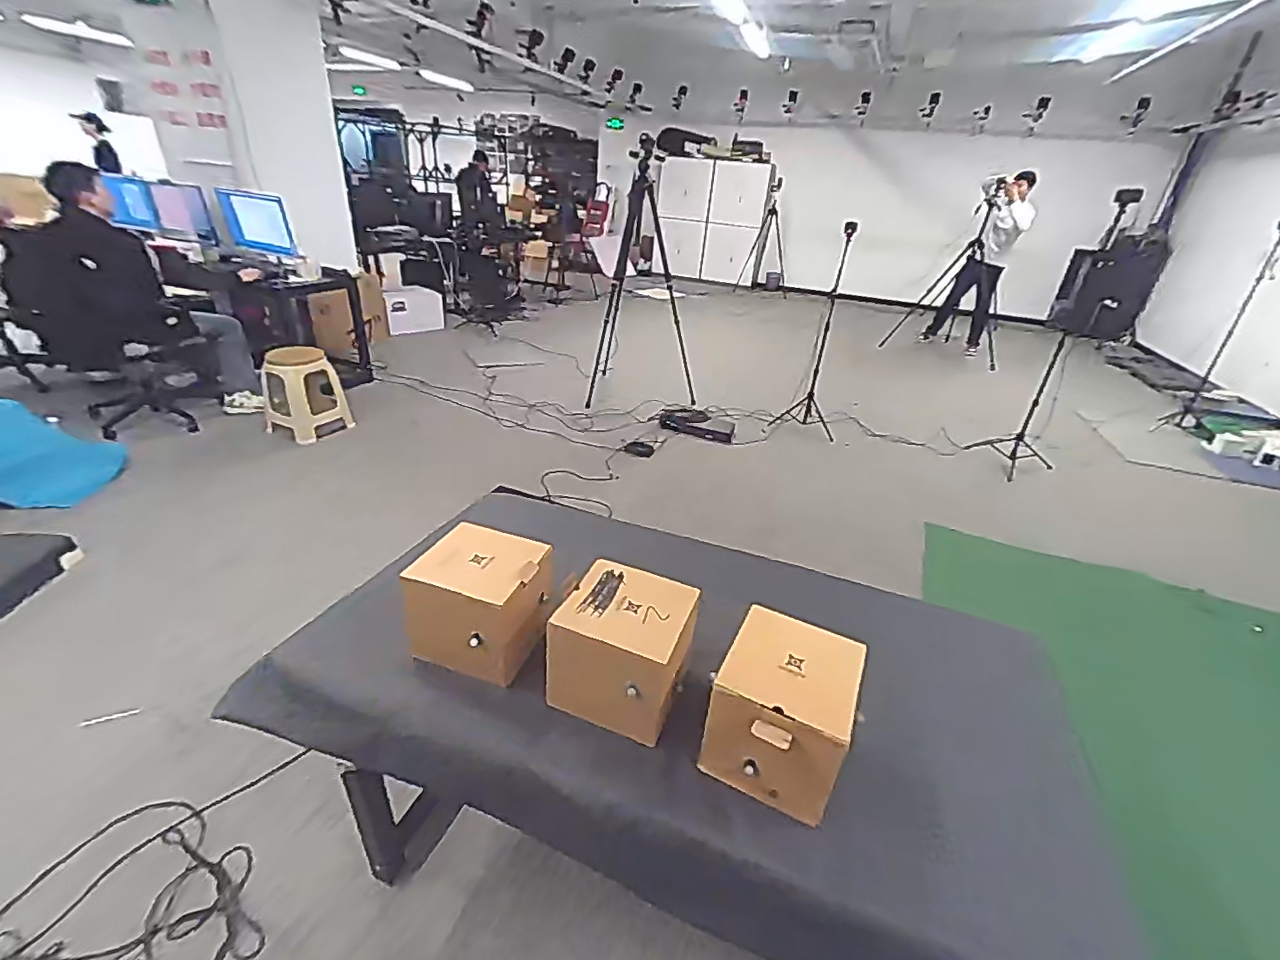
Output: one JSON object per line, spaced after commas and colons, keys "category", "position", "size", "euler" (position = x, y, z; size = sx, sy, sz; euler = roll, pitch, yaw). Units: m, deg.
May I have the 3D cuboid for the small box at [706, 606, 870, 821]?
{"category": "small box", "position": [0.200, 0.312, 0.743], "size": [0.168, 0.176, 0.179], "euler": [17, 31, 21]}

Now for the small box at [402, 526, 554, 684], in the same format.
{"category": "small box", "position": [-0.252, 0.202, 0.880], "size": [0.179, 0.176, 0.168], "euler": [11, 28, 13]}
